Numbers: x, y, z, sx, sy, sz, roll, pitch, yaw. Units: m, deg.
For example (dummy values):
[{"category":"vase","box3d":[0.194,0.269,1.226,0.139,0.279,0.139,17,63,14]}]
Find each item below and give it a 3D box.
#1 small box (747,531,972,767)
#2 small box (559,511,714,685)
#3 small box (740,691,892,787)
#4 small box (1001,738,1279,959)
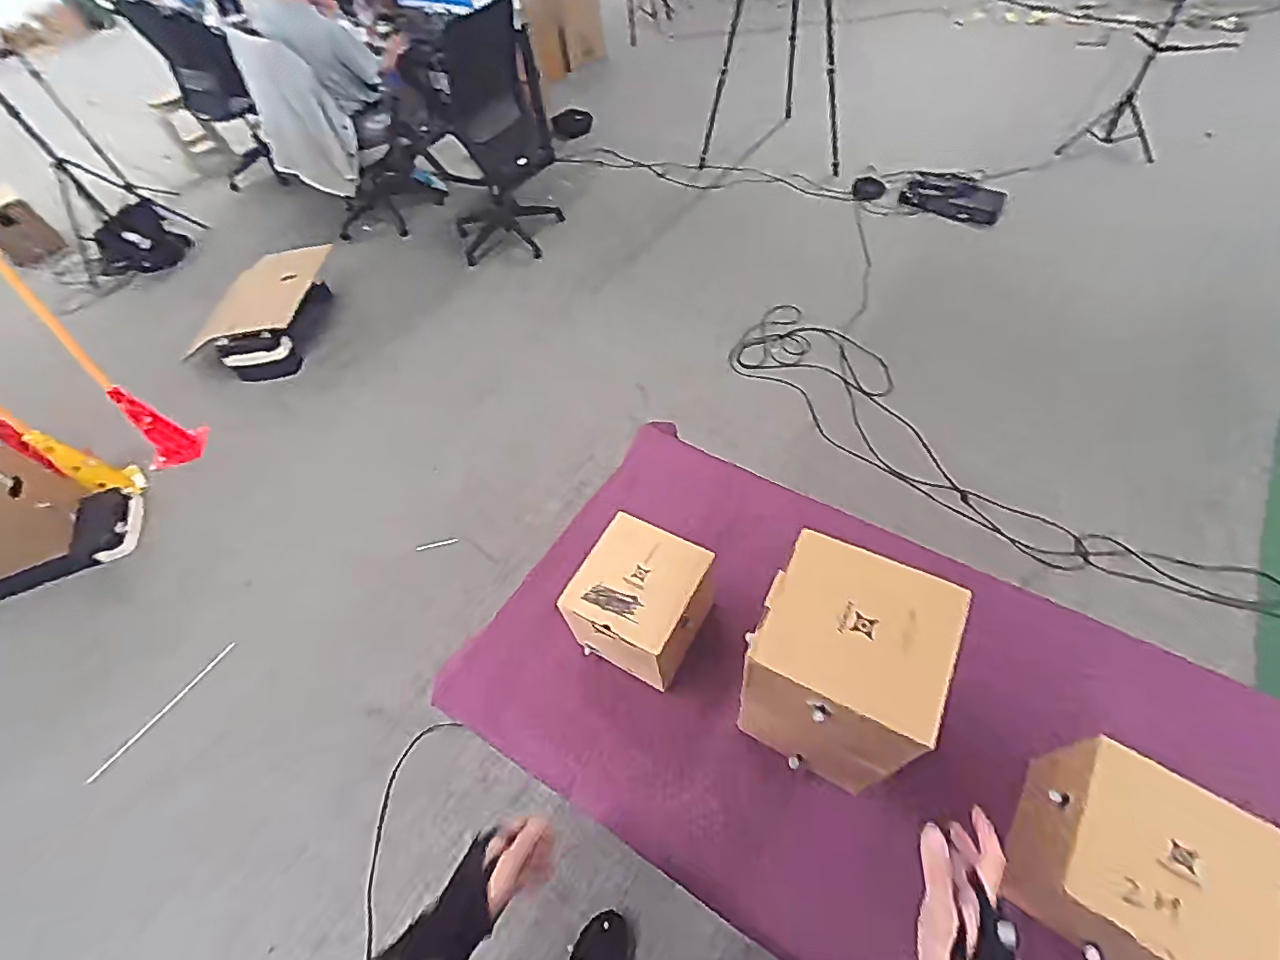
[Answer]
[{"category":"small box","box3d":[0.228,0.191,0.600,0.179,0.176,0.168,22,61,23]},{"category":"small box","box3d":[0.006,0.186,0.835,0.168,0.176,0.179,23,59,22]},{"category":"small box","box3d":[0.249,0.288,0.730,0.179,0.176,0.168,23,60,22]},{"category":"small box","box3d":[0.534,0.425,0.592,0.168,0.176,0.179,28,62,26]}]
